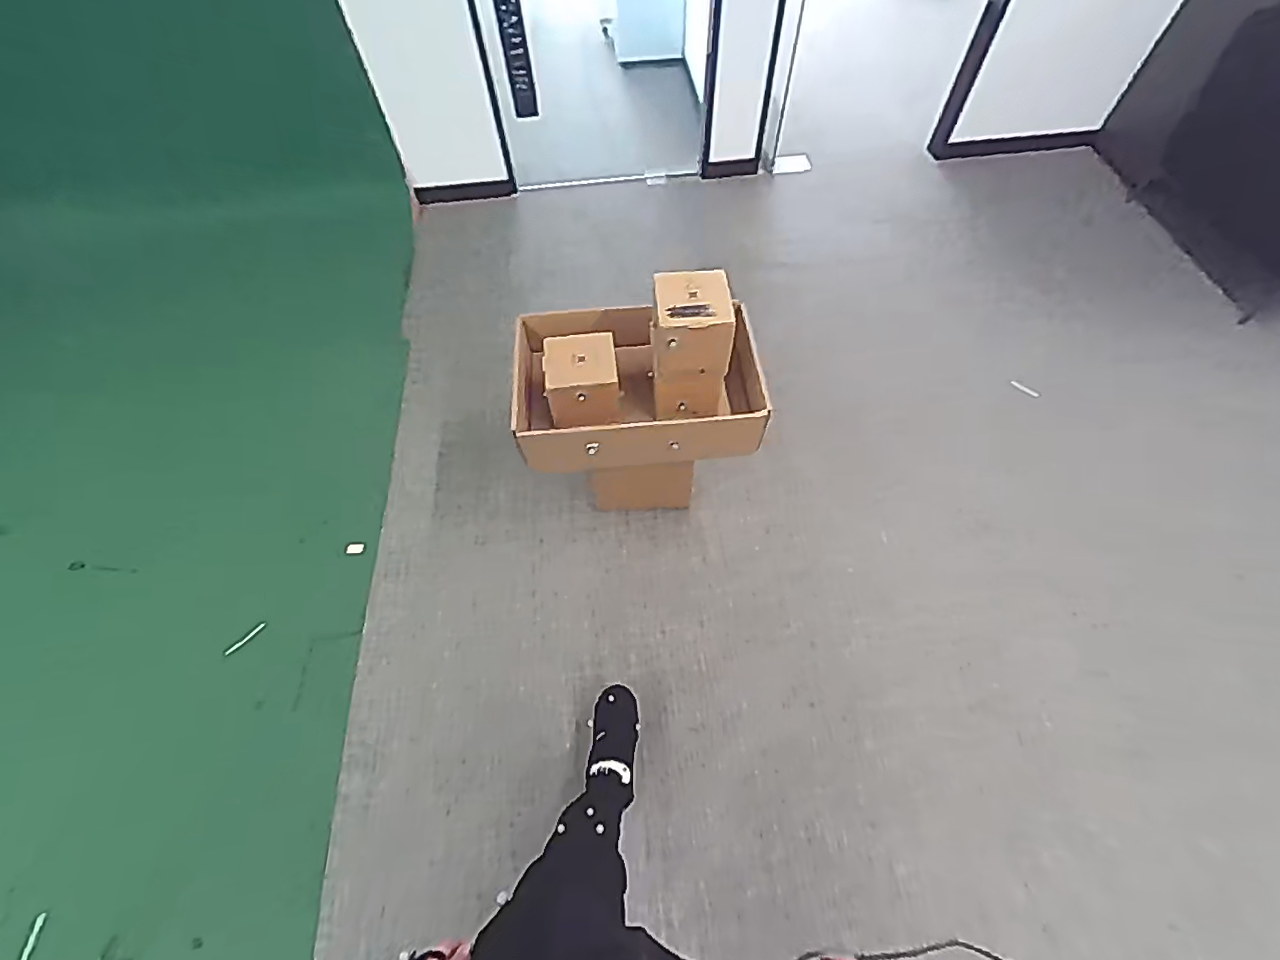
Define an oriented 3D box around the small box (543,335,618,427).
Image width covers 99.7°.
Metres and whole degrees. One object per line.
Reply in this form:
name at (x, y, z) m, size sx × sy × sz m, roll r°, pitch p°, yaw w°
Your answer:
small box at (-0.151, -0.251, 1.393) m, size 0.179 × 0.176 × 0.168 m, roll -5°, pitch 59°, yaw -3°
